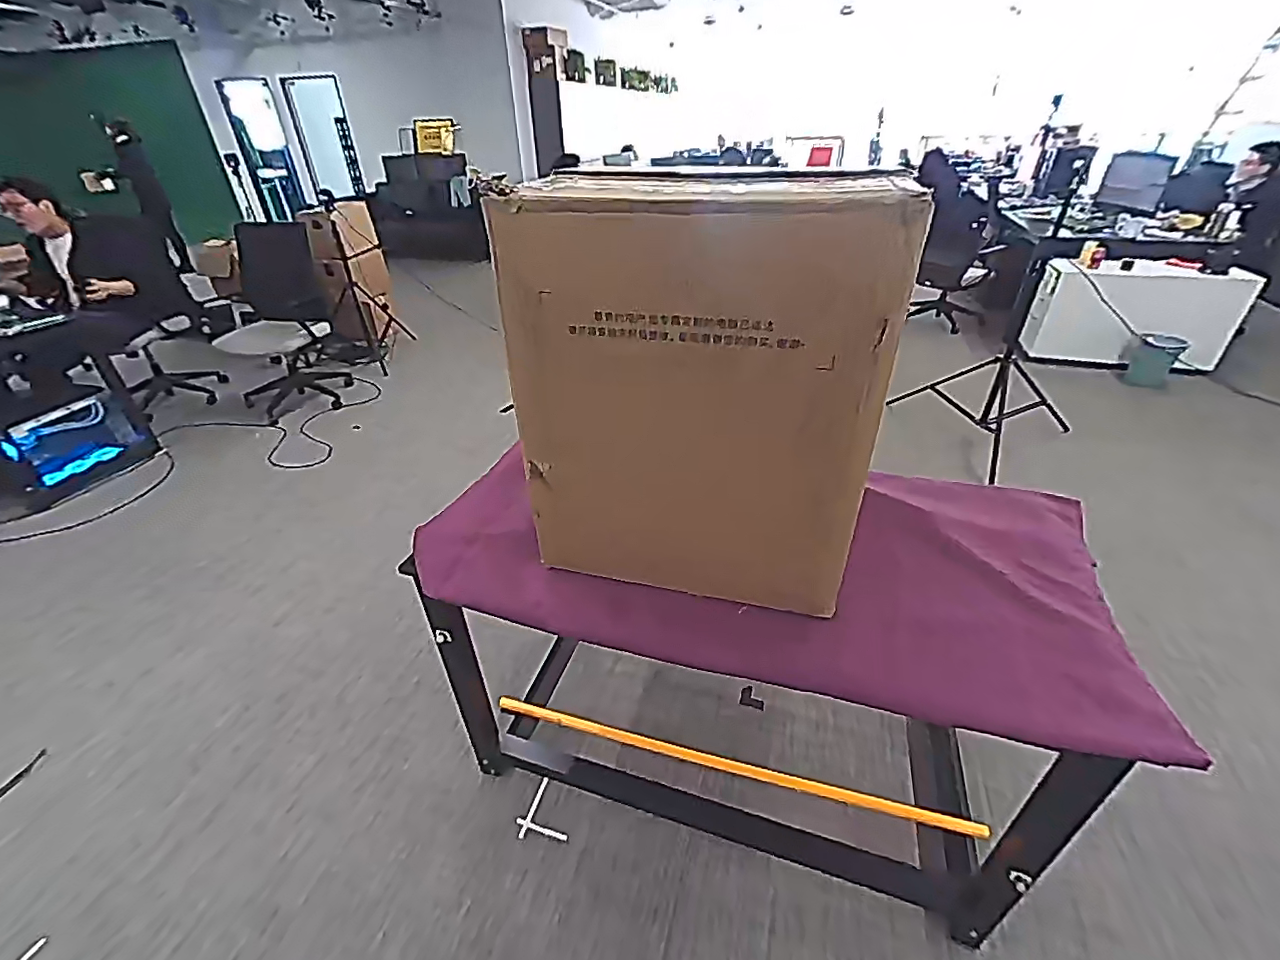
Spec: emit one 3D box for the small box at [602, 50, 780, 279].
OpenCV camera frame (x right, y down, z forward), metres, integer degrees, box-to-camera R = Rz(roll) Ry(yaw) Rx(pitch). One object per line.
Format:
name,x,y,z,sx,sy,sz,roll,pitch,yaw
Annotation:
small box,0.070,-0.423,0.737,0.168,0.176,0.179,-41,72,9
